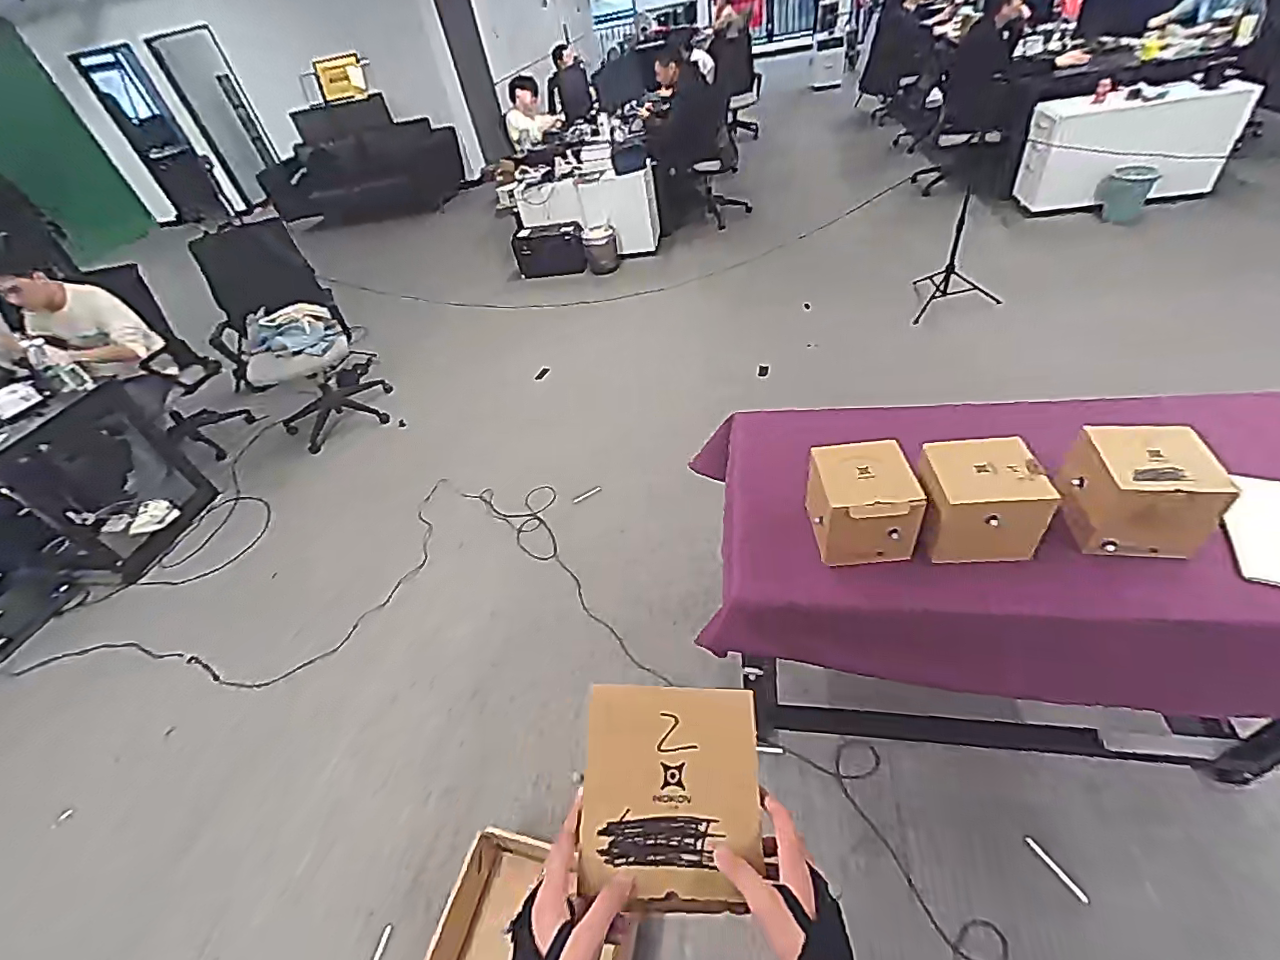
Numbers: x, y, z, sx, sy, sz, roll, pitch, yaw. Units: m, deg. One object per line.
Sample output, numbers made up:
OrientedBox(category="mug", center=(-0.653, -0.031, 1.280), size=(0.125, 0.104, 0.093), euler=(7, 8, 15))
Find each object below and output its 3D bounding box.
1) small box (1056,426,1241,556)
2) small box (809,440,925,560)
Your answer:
OrientedBox(category="small box", center=(0.900, 0.020, 0.980), size=(0.168, 0.176, 0.179), euler=(2, 43, 16))
OrientedBox(category="small box", center=(0.435, 0.046, 1.066), size=(0.168, 0.176, 0.179), euler=(-5, 42, 7))
